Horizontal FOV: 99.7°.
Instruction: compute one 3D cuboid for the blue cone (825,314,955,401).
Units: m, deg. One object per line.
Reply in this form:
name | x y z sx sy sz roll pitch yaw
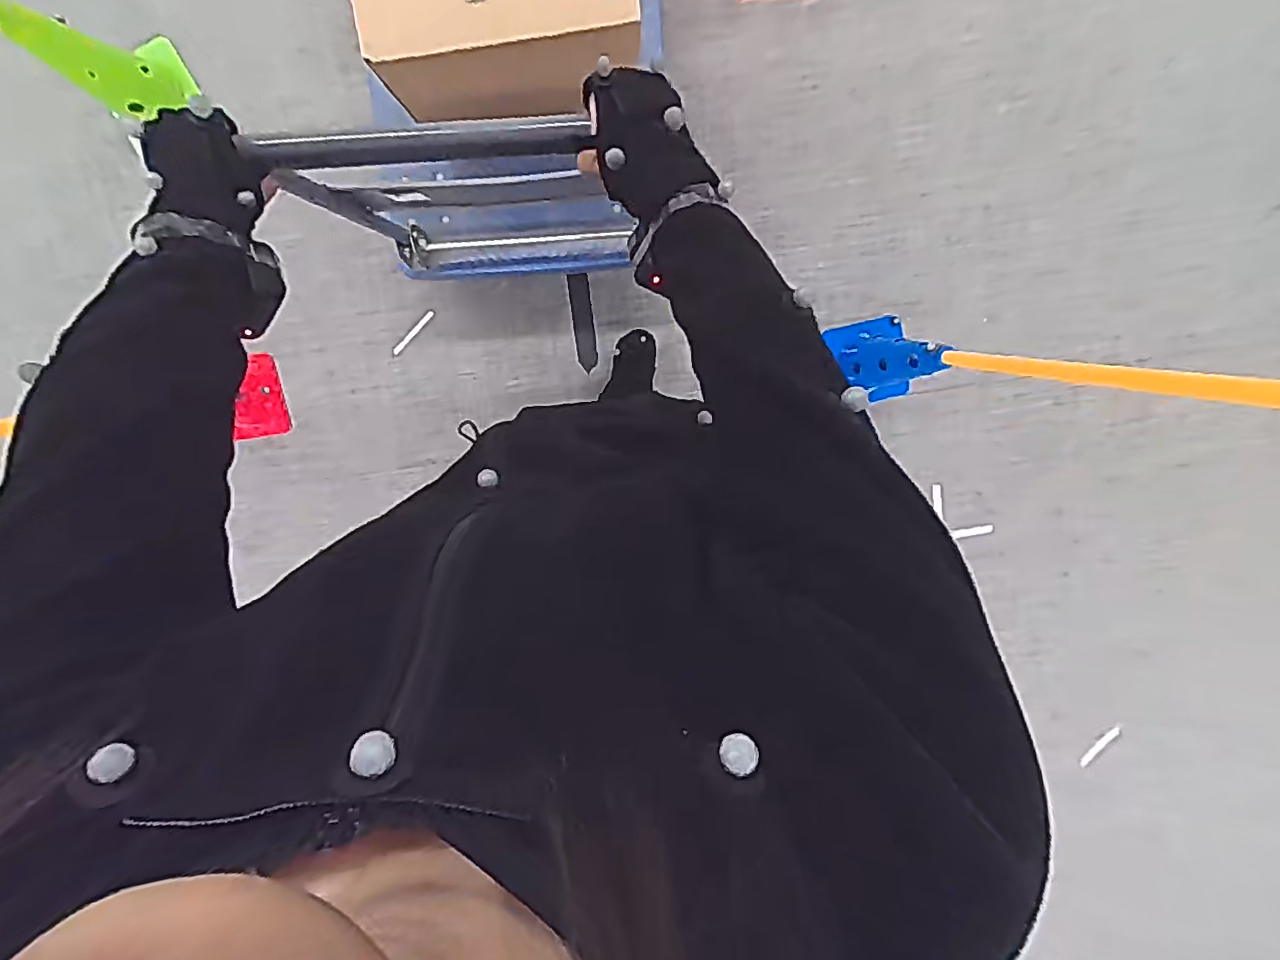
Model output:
blue cone | 0.568 -0.274 1.185 0.193 0.380 0.192 -11 100 1
